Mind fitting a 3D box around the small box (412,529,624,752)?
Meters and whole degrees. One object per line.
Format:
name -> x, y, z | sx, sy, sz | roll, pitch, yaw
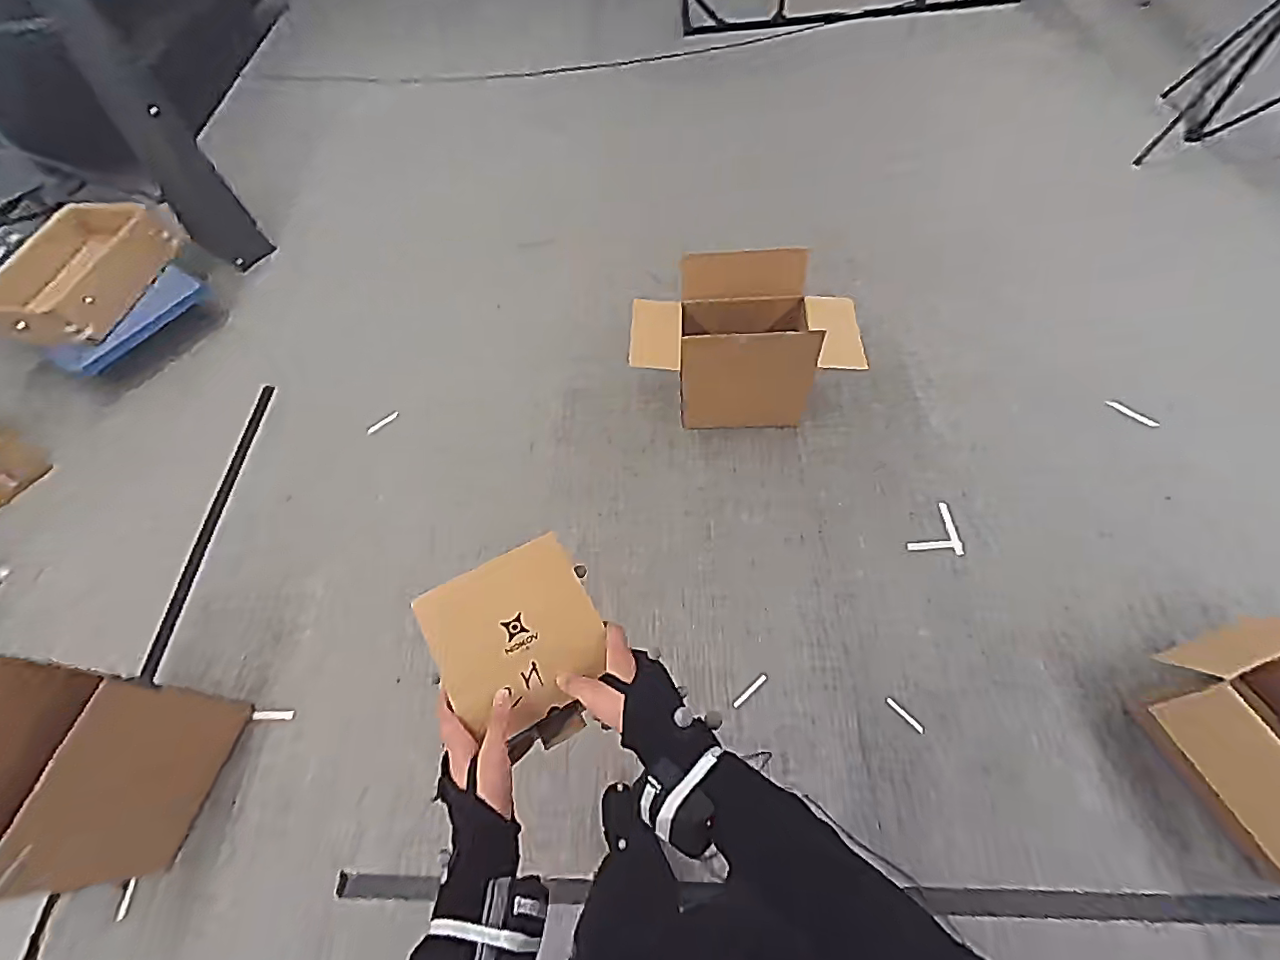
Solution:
small box -> -0.134, 0.189, 0.622 | 0.168, 0.176, 0.179 | -25, 69, -17
